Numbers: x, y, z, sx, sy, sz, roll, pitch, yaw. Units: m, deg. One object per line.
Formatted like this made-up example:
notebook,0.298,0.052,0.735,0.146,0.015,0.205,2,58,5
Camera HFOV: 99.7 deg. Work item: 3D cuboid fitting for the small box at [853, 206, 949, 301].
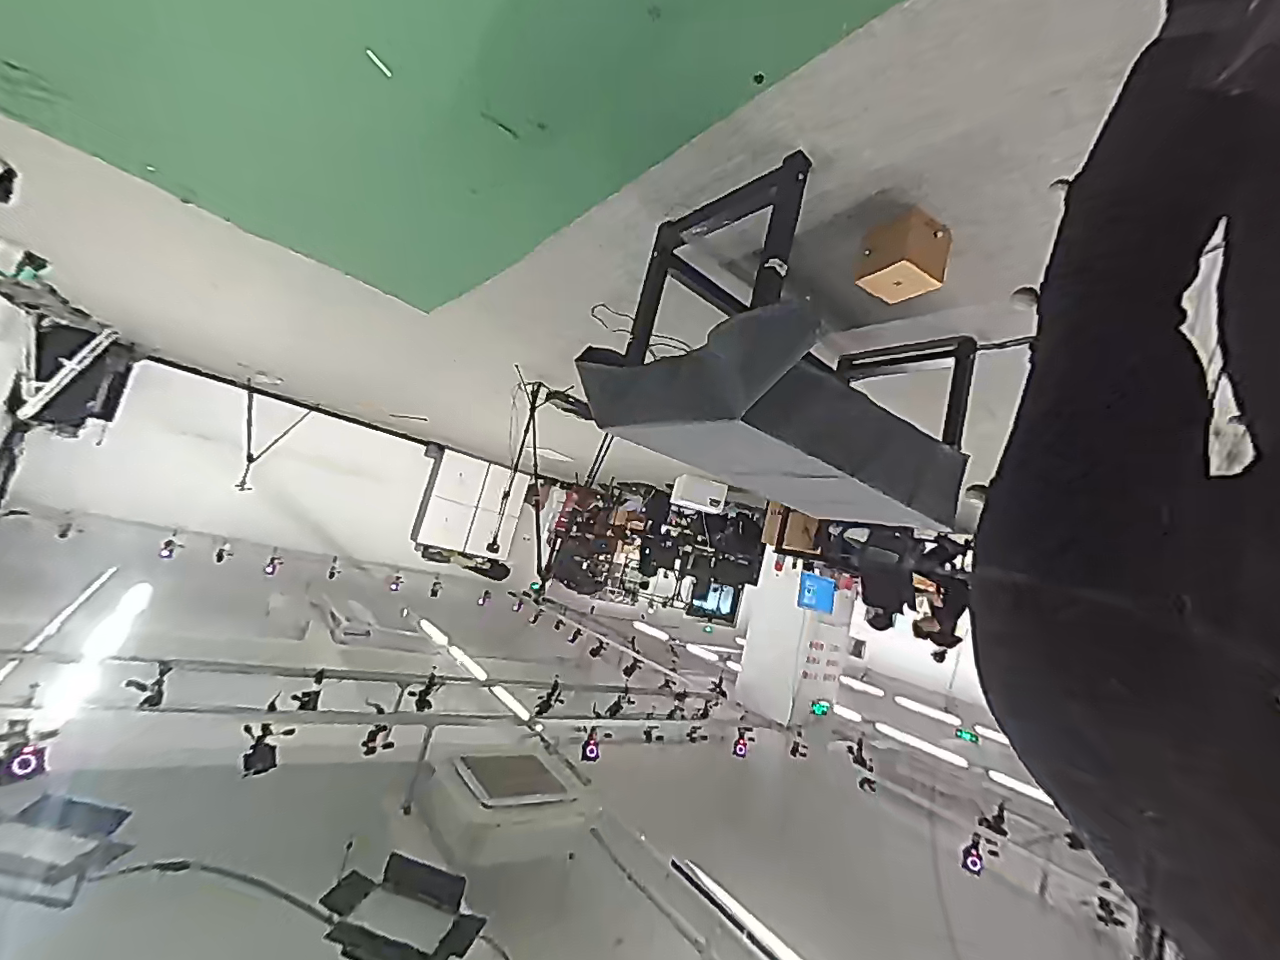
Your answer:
small box,0.754,-0.647,1.557,0.168,0.176,0.179,16,173,-25
